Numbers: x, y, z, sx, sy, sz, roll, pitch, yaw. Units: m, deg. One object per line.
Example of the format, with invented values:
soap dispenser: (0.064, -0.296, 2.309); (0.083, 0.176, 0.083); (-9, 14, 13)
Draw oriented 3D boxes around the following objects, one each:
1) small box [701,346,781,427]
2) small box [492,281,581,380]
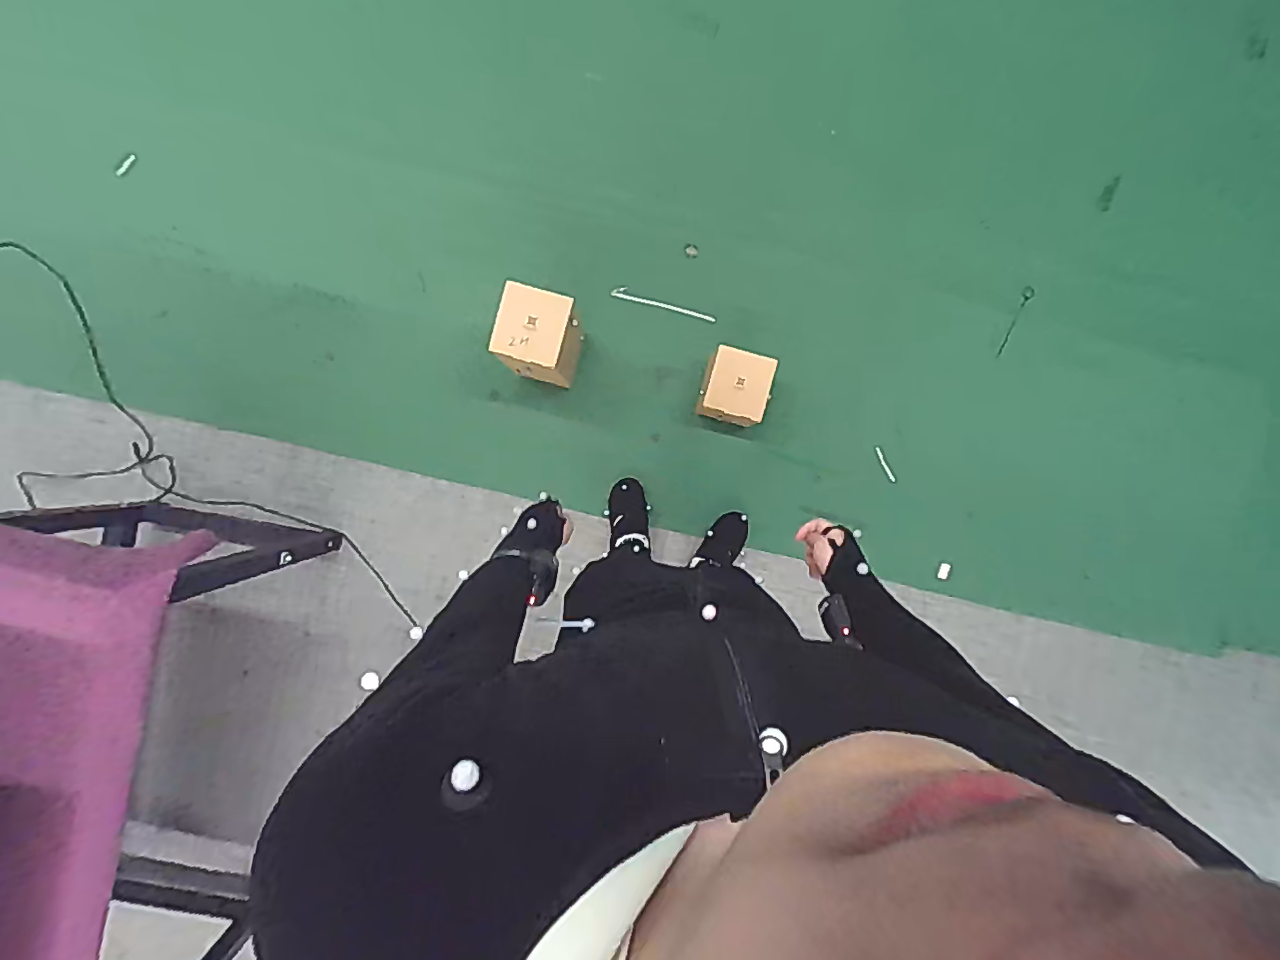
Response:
small box: (0.277, -0.257, 1.526); (0.168, 0.176, 0.179); (15, 92, -2)
small box: (-0.250, -0.366, 1.350); (0.168, 0.176, 0.179); (16, 91, 0)
